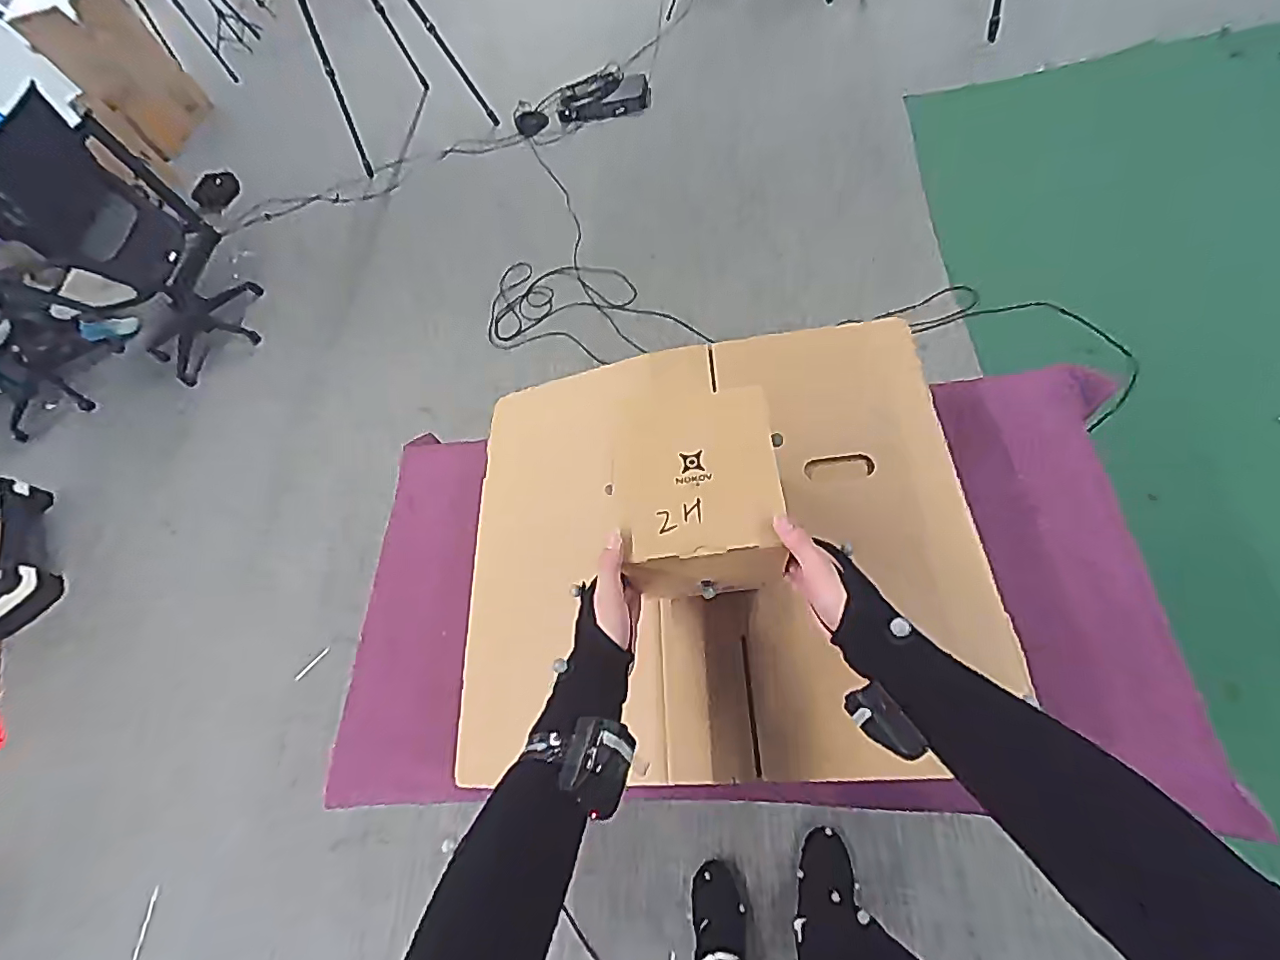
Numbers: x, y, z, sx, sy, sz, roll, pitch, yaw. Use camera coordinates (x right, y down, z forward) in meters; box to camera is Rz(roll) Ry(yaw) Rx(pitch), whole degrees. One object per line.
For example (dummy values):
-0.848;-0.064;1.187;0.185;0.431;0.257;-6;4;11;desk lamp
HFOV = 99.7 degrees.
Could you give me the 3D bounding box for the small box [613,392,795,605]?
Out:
0.068;0.029;0.602;0.168;0.176;0.179;-8;65;7;small box
